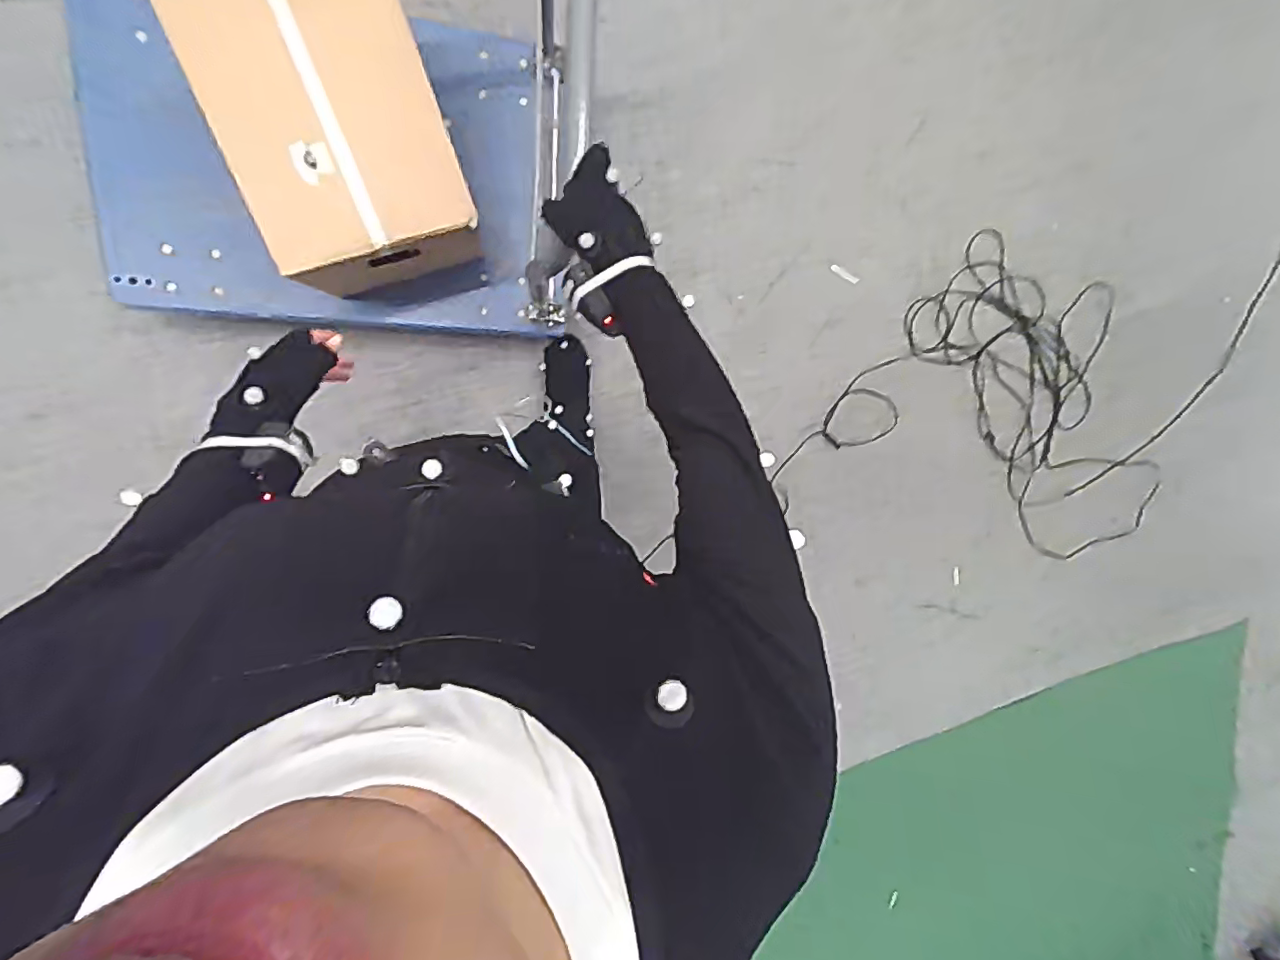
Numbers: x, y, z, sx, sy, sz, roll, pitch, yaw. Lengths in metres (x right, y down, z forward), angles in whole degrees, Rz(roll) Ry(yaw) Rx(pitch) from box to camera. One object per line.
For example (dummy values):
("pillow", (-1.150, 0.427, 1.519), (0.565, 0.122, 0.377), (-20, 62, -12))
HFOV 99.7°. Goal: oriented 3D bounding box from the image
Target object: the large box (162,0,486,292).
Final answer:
("large box", (-0.488, -0.583, 0.936), (0.320, 0.320, 0.408), (-20, 107, -9))
